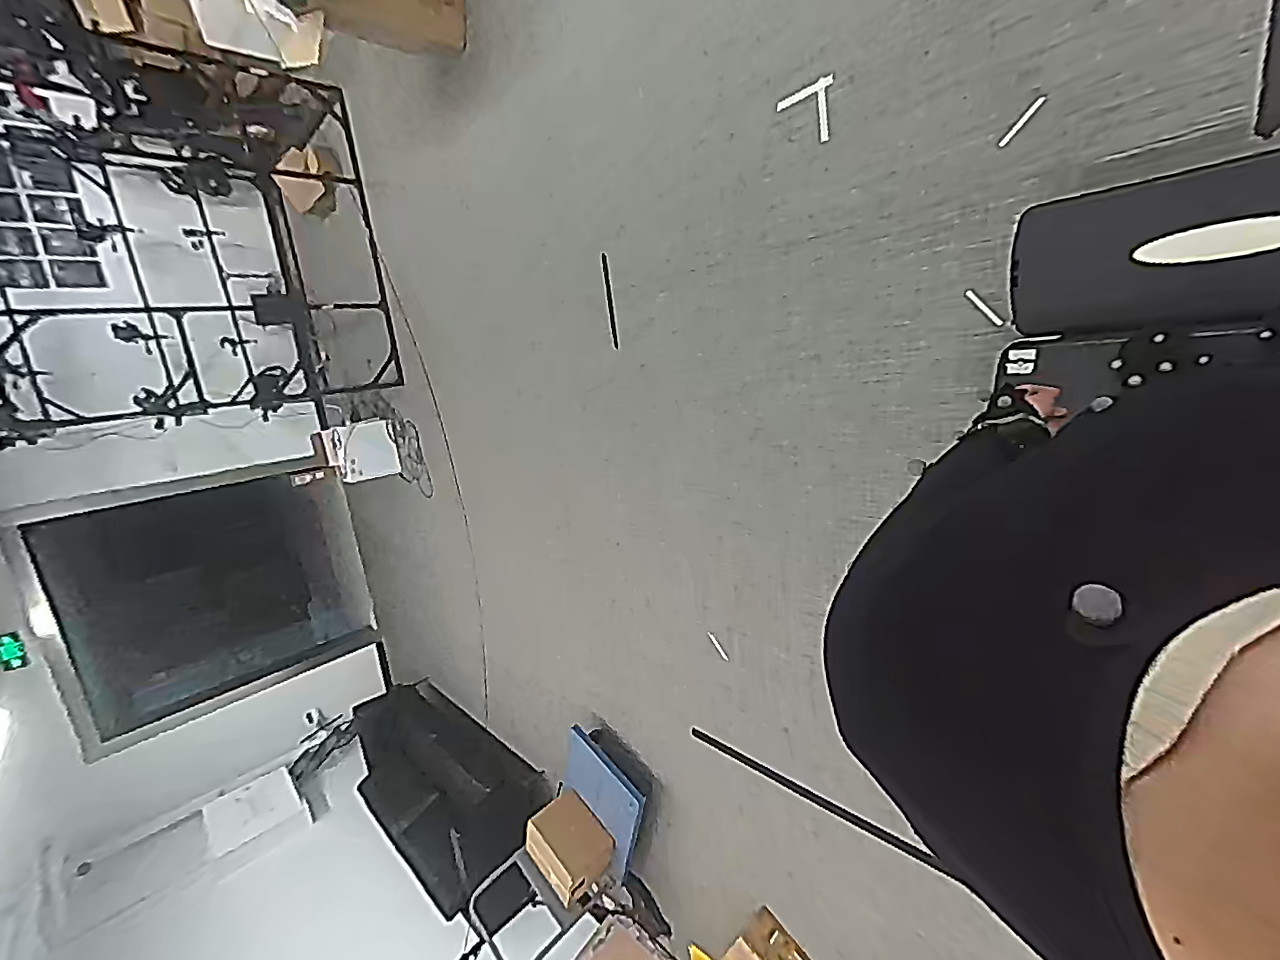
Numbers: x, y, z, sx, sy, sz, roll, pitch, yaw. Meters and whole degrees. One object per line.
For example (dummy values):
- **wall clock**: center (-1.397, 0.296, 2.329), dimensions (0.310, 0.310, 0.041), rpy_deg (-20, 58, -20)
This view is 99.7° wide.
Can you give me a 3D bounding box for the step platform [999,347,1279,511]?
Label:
- **step platform**: center (1.098, -0.109, 1.035), dimensions (0.684, 0.204, 0.286), rpy_deg (14, 112, 46)
